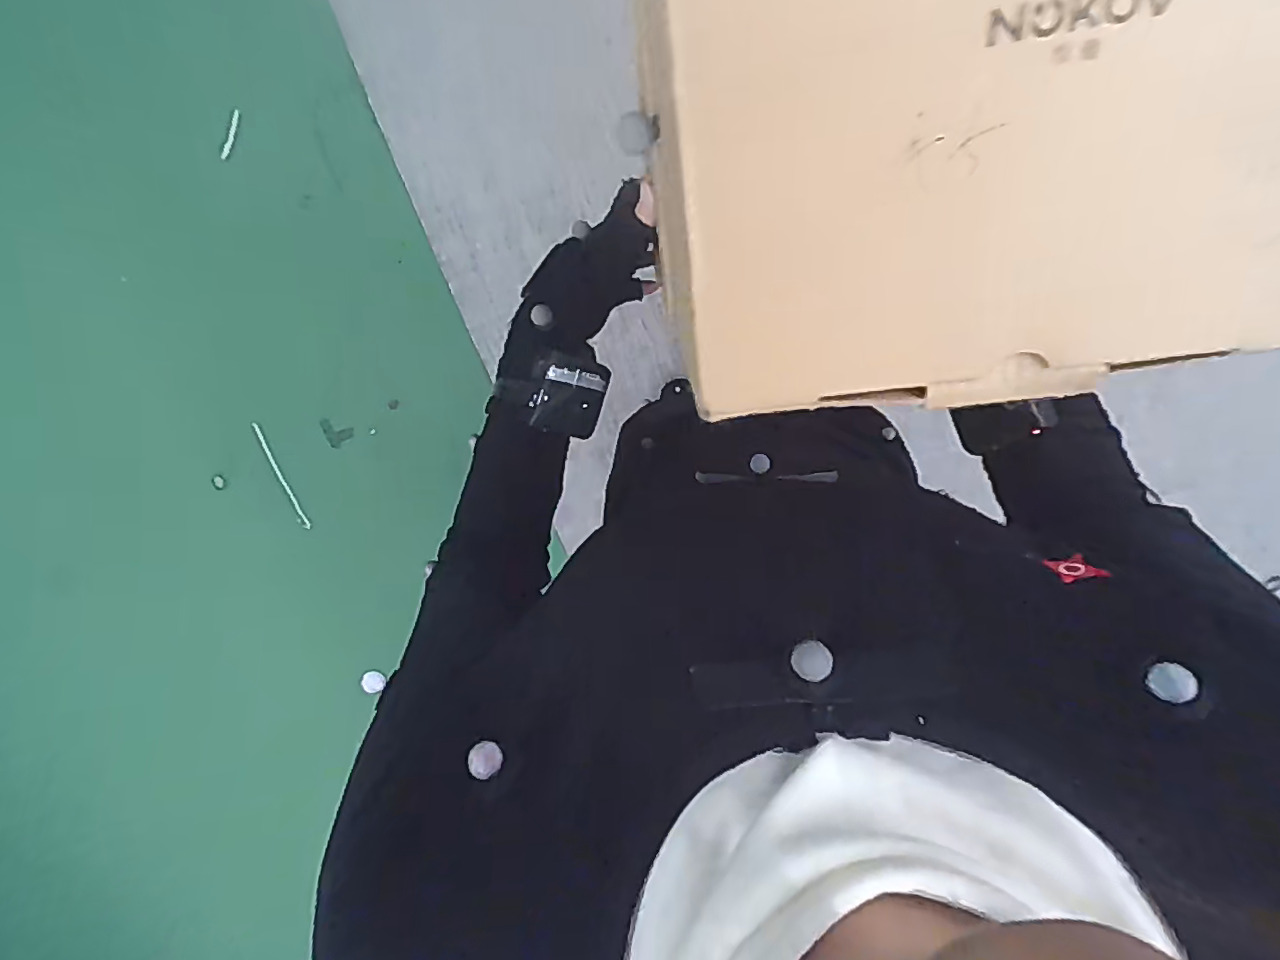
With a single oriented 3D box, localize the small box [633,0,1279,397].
[{"bbox_3d":[0.084,-0.144,0.179,0.168,0.176,0.179,-7,116,6],"label":"small box"}]
